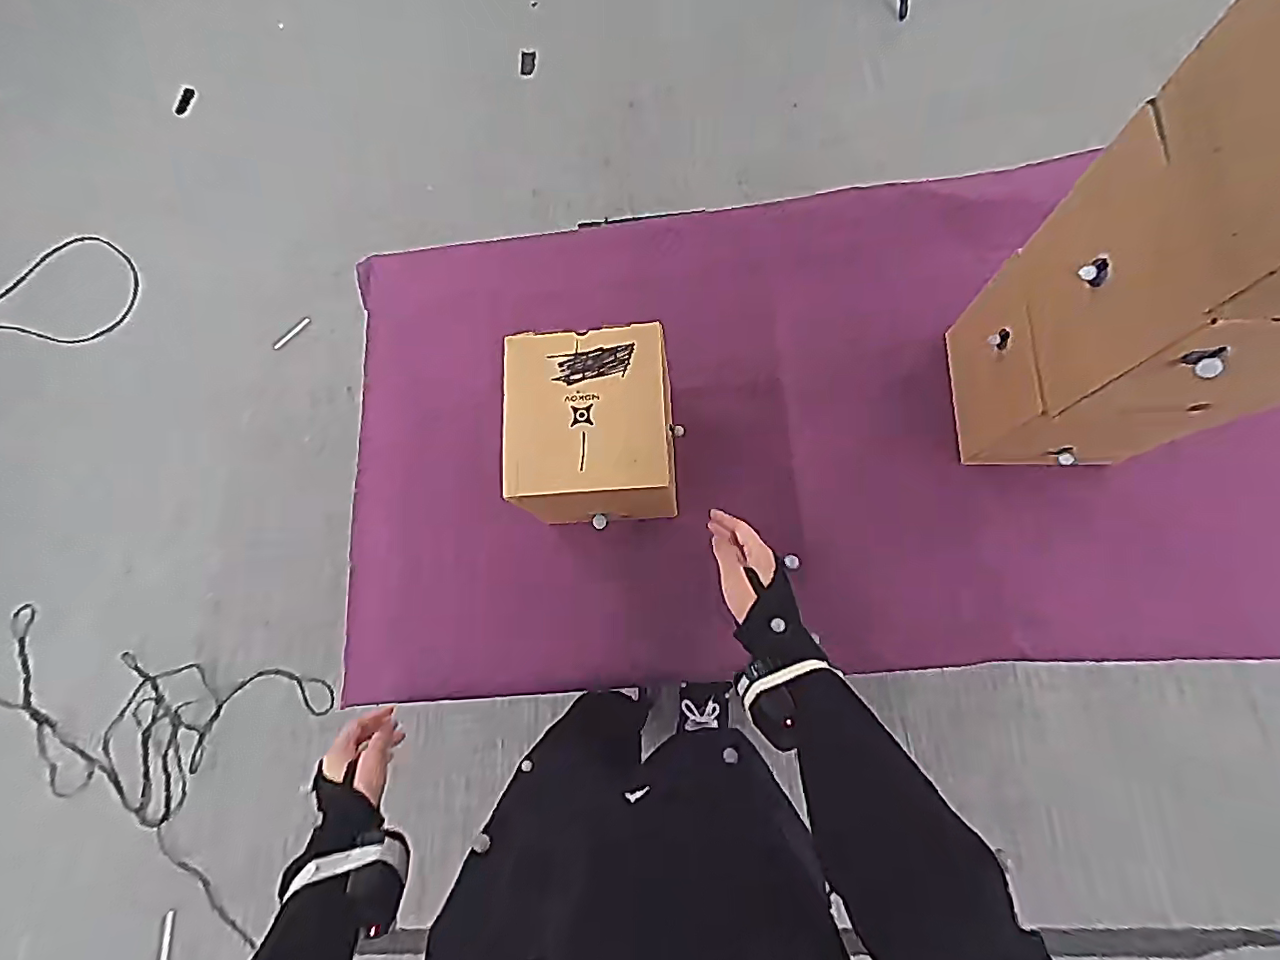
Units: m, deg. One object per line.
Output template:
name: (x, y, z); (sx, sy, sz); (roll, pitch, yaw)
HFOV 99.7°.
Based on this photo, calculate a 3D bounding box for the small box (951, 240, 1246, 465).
small box: (0.454, -0.123, 0.573); (0.168, 0.176, 0.179); (0, 76, 8)

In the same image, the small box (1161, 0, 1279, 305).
small box: (0.413, -0.196, 0.257); (0.168, 0.176, 0.179); (2, 75, 6)

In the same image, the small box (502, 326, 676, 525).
small box: (-0.047, -0.051, 0.614); (0.168, 0.176, 0.179); (-4, 76, 6)
